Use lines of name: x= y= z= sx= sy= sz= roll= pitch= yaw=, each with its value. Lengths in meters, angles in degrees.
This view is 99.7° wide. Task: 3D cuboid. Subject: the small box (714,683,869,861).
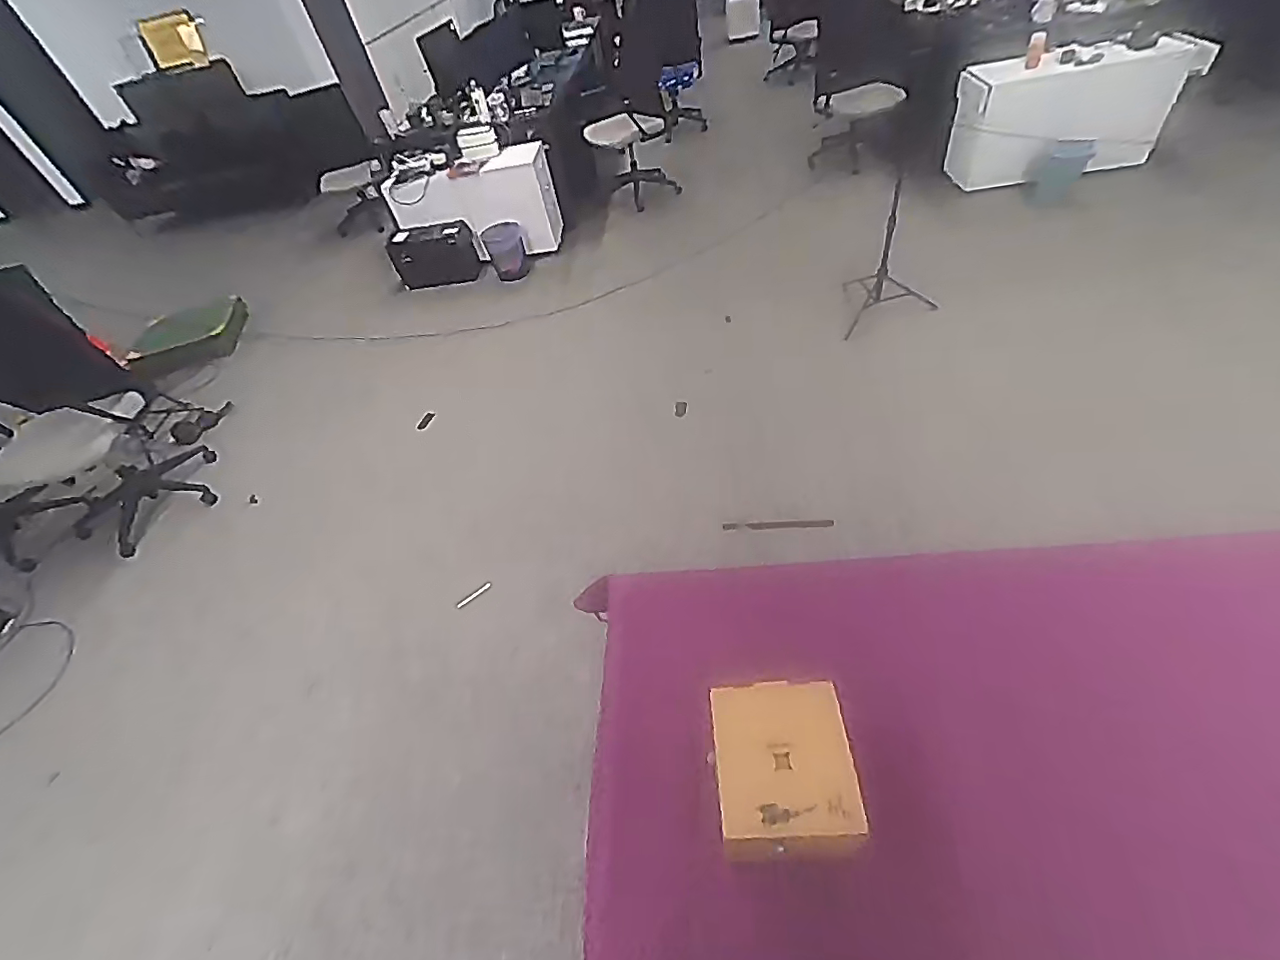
small box: x=0.190 y=0.394 z=0.729 sx=0.168 sy=0.176 sz=0.179 roll=-6 pitch=47 yaw=7
